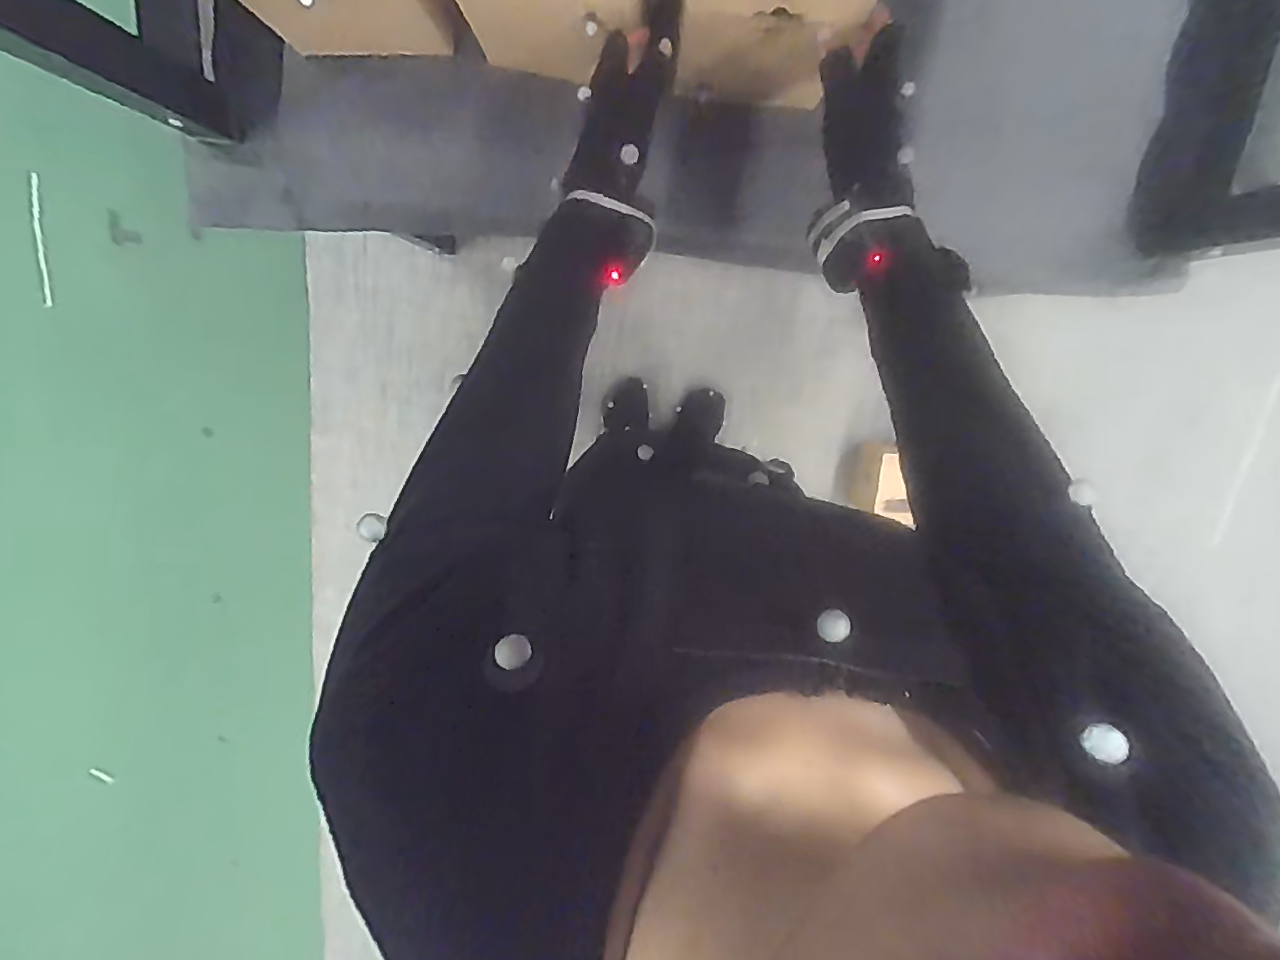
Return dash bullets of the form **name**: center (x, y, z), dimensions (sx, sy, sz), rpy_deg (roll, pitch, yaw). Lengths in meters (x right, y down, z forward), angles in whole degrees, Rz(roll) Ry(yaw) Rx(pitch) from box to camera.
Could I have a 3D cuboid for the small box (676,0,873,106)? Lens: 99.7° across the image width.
- **small box**: center (0.126, -0.495, 0.520), dimensions (0.168, 0.176, 0.179), rpy_deg (5, 103, -1)
